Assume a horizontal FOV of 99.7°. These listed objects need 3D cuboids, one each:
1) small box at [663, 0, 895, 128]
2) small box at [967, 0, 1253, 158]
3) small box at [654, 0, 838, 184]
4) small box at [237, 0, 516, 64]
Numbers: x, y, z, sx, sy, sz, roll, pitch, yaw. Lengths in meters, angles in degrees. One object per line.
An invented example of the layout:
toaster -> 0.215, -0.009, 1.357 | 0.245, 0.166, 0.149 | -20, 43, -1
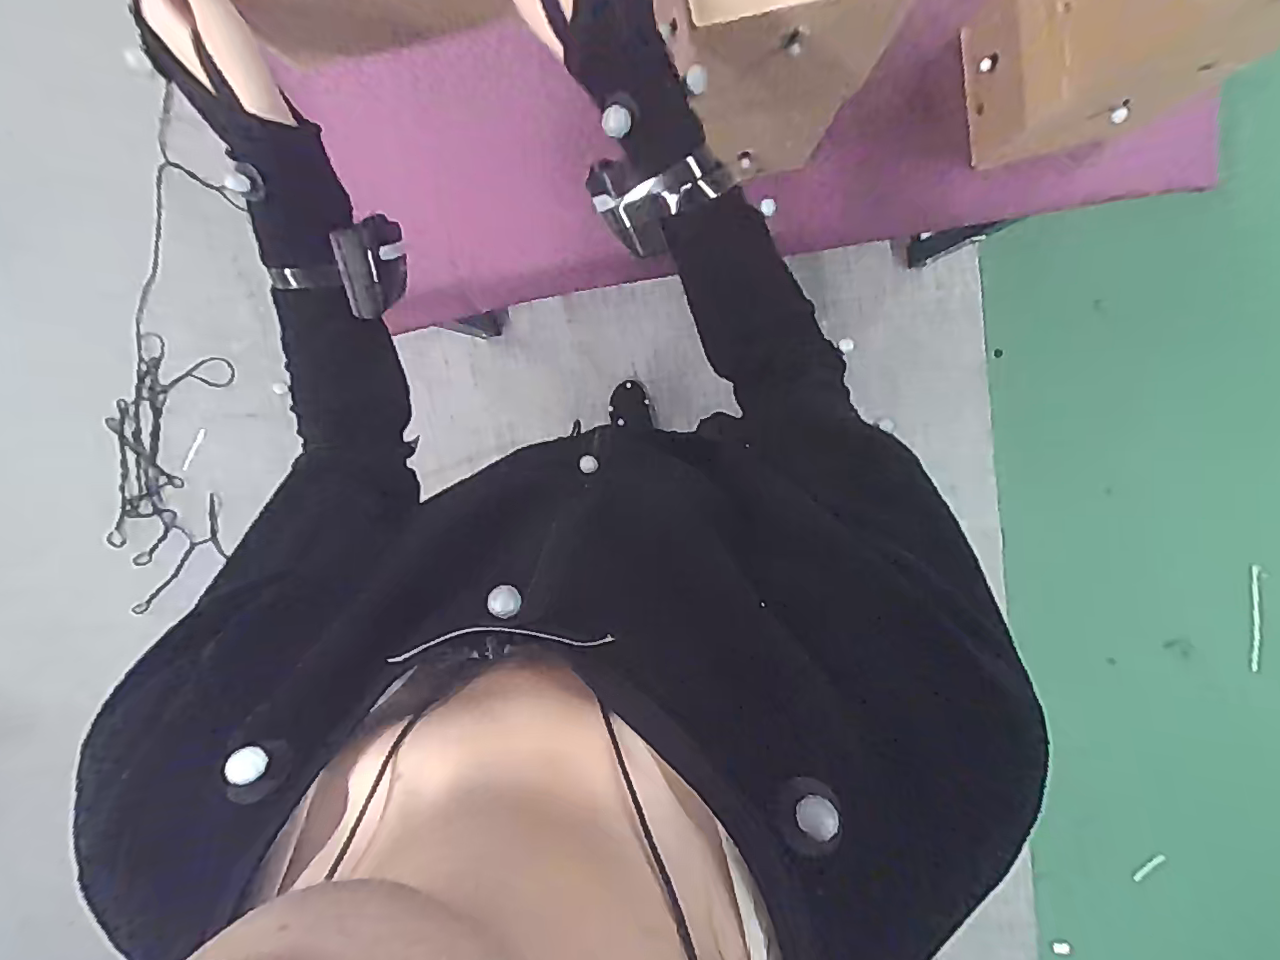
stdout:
small box -> 0.107, -0.431, 0.452 | 0.179, 0.176, 0.168 | -10, 99, 5
small box -> 0.491, -0.482, 0.583 | 0.179, 0.176, 0.168 | -11, 100, 7
small box -> 0.112, -0.461, 0.612 | 0.168, 0.176, 0.179 | -10, 98, 5
small box -> -0.179, -0.375, 0.306 | 0.179, 0.176, 0.168 | -15, 112, -1
